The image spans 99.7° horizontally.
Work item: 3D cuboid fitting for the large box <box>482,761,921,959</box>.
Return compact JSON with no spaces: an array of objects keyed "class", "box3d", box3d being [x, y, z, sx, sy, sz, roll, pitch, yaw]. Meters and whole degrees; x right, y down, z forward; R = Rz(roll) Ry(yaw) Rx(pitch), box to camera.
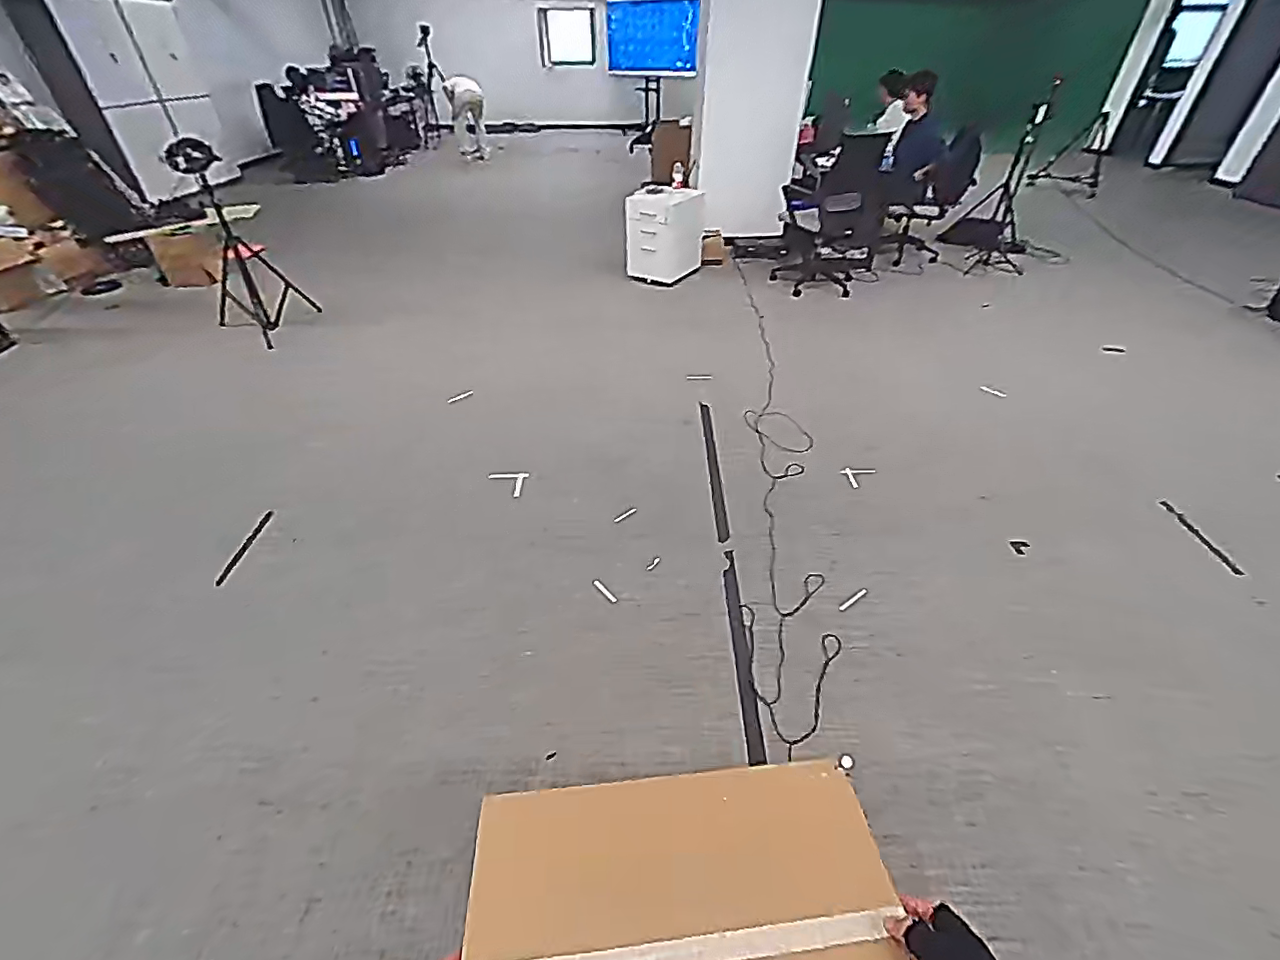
[{"class":"large box","box3d":[0.052,0.551,0.577,0.408,0.320,0.320,-3,35,-5]}]
